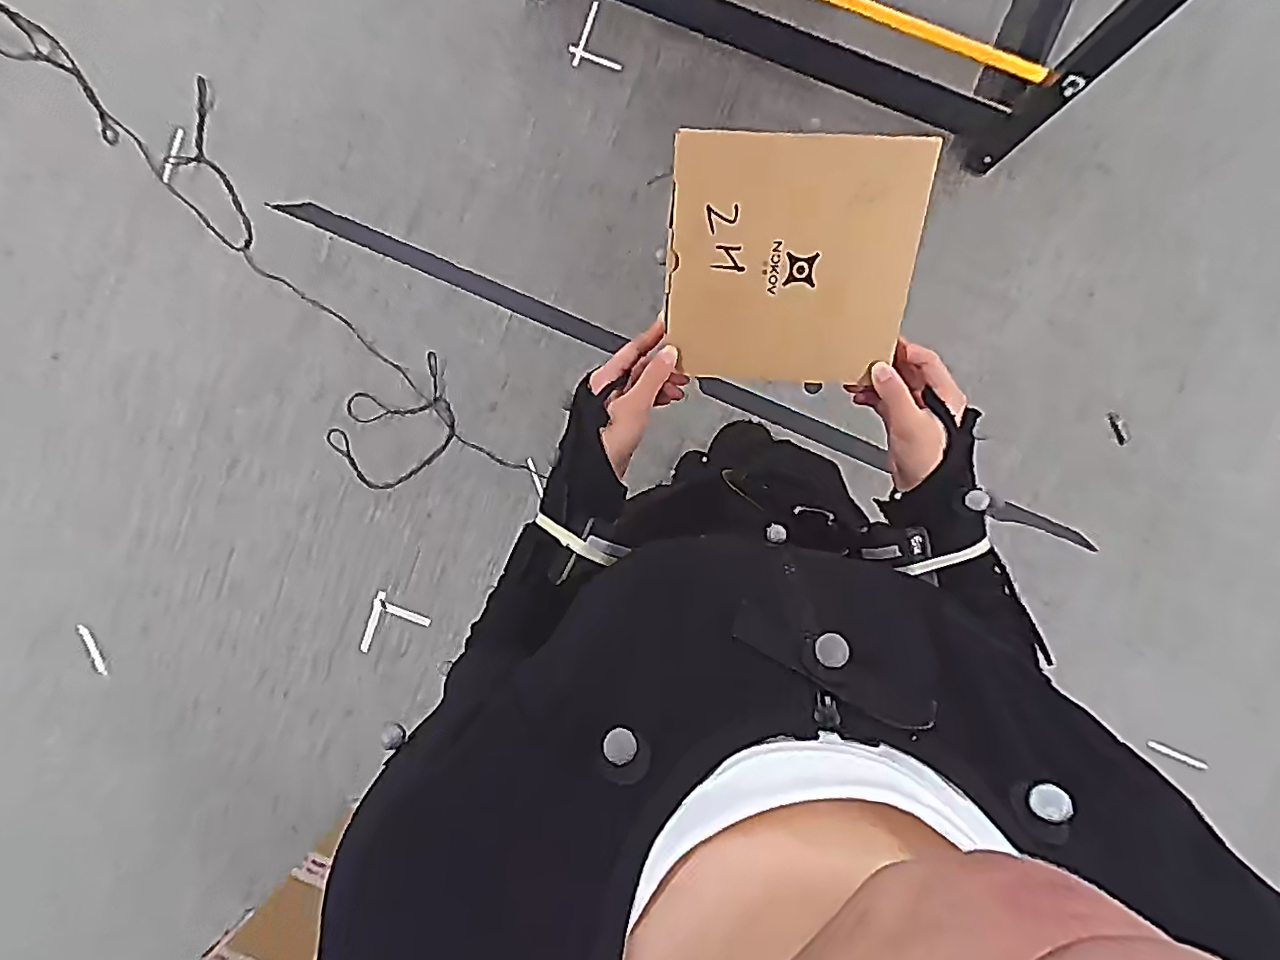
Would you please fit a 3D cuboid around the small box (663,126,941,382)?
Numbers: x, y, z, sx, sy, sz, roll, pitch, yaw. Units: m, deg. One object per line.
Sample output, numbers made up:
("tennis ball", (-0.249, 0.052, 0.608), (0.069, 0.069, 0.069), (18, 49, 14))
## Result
("small box", (0.114, -0.188, 0.463), (0.179, 0.176, 0.168), (4, 113, 3))
